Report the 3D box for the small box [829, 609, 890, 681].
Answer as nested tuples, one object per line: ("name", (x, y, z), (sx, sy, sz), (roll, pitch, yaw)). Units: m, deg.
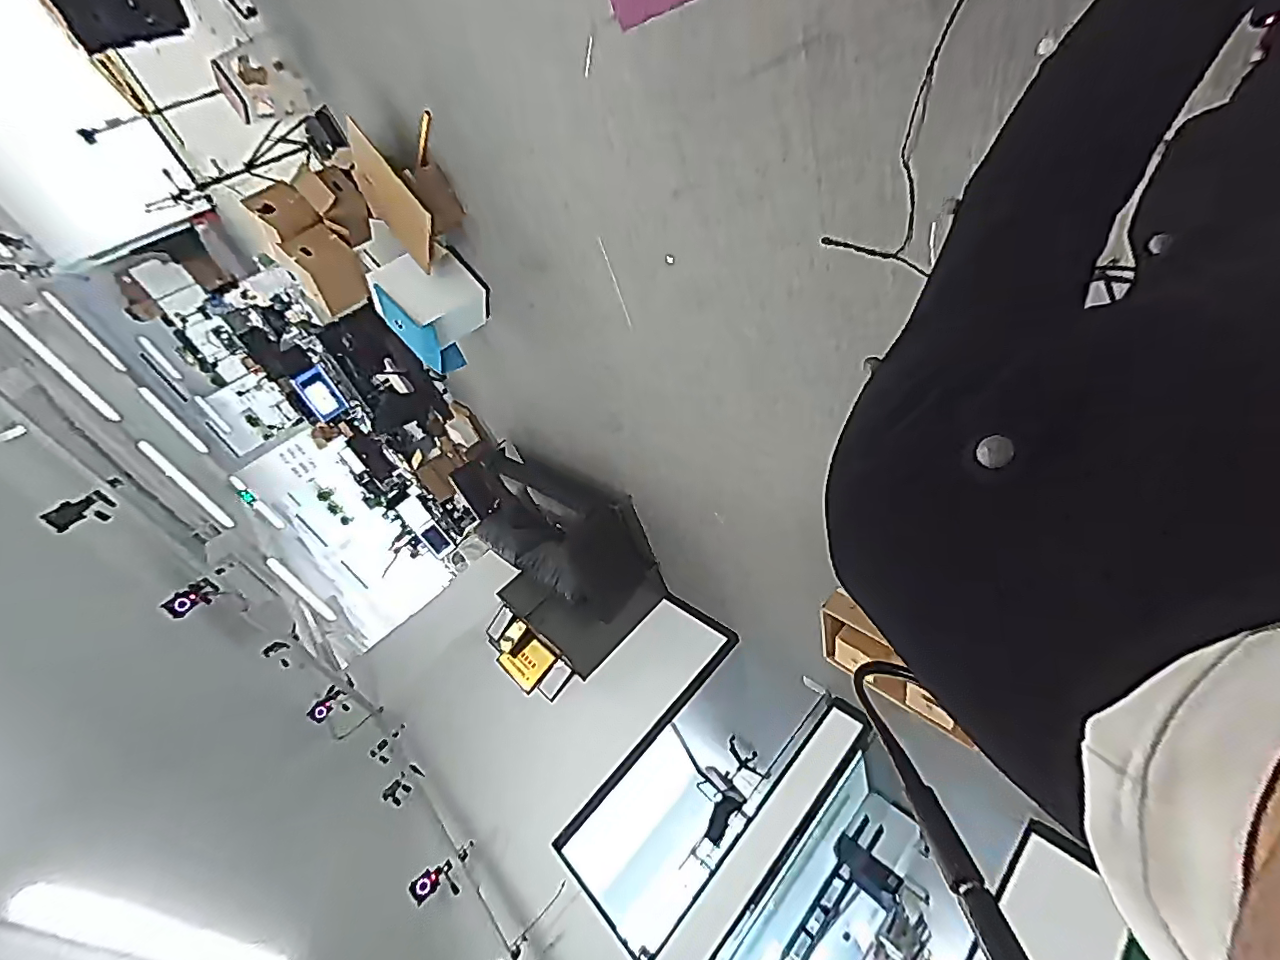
("small box", (0.871, 0.651, 2.144), (0.168, 0.176, 0.179), (29, 148, 39))
